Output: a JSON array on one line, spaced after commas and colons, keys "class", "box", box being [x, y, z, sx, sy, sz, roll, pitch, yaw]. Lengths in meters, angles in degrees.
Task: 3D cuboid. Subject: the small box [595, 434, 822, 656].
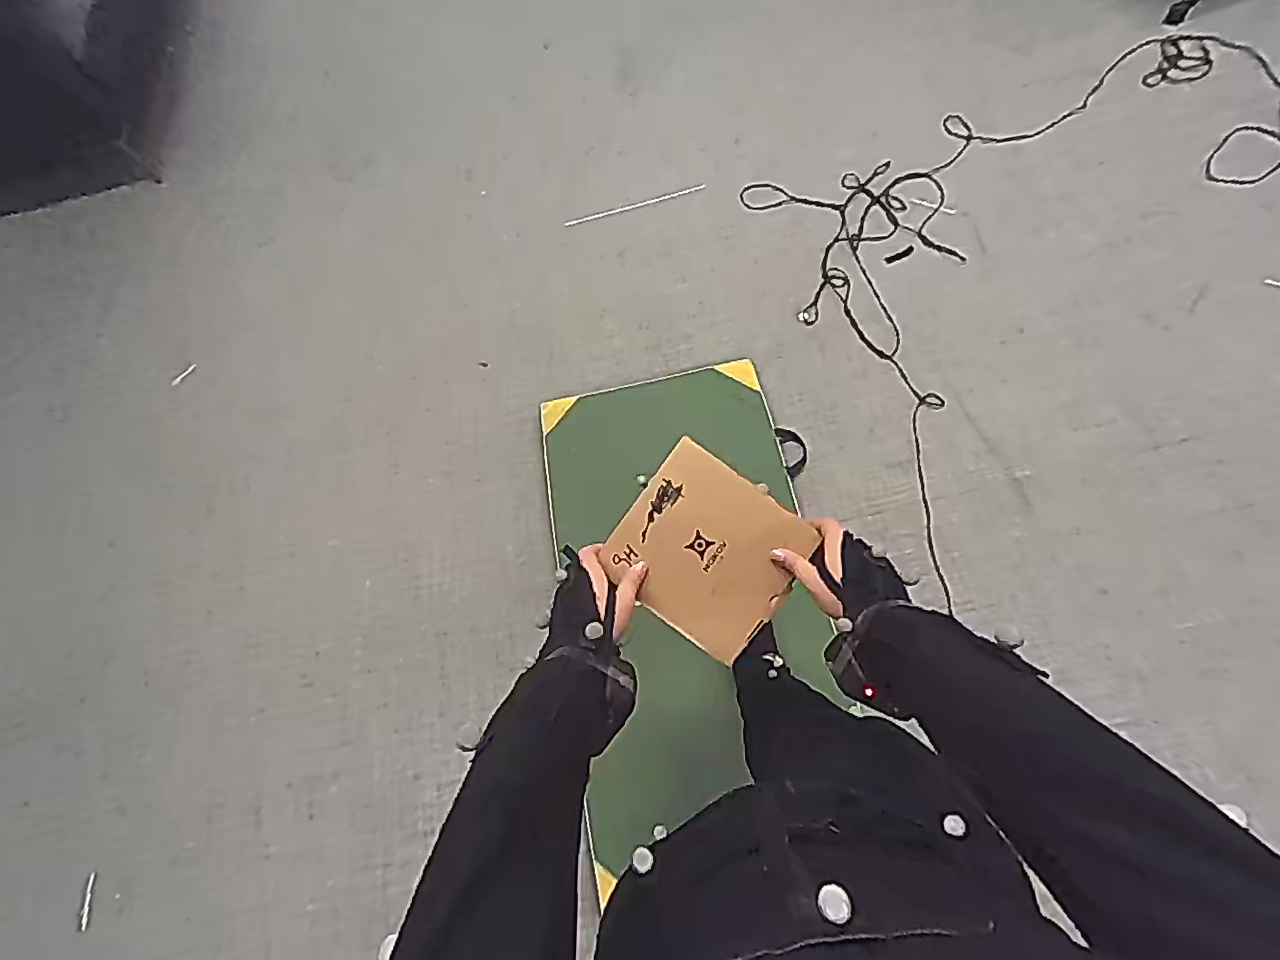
[{"class": "small box", "box": [0.075, 0.067, 0.631, 0.179, 0.176, 0.168, 36, 91, 5]}]
